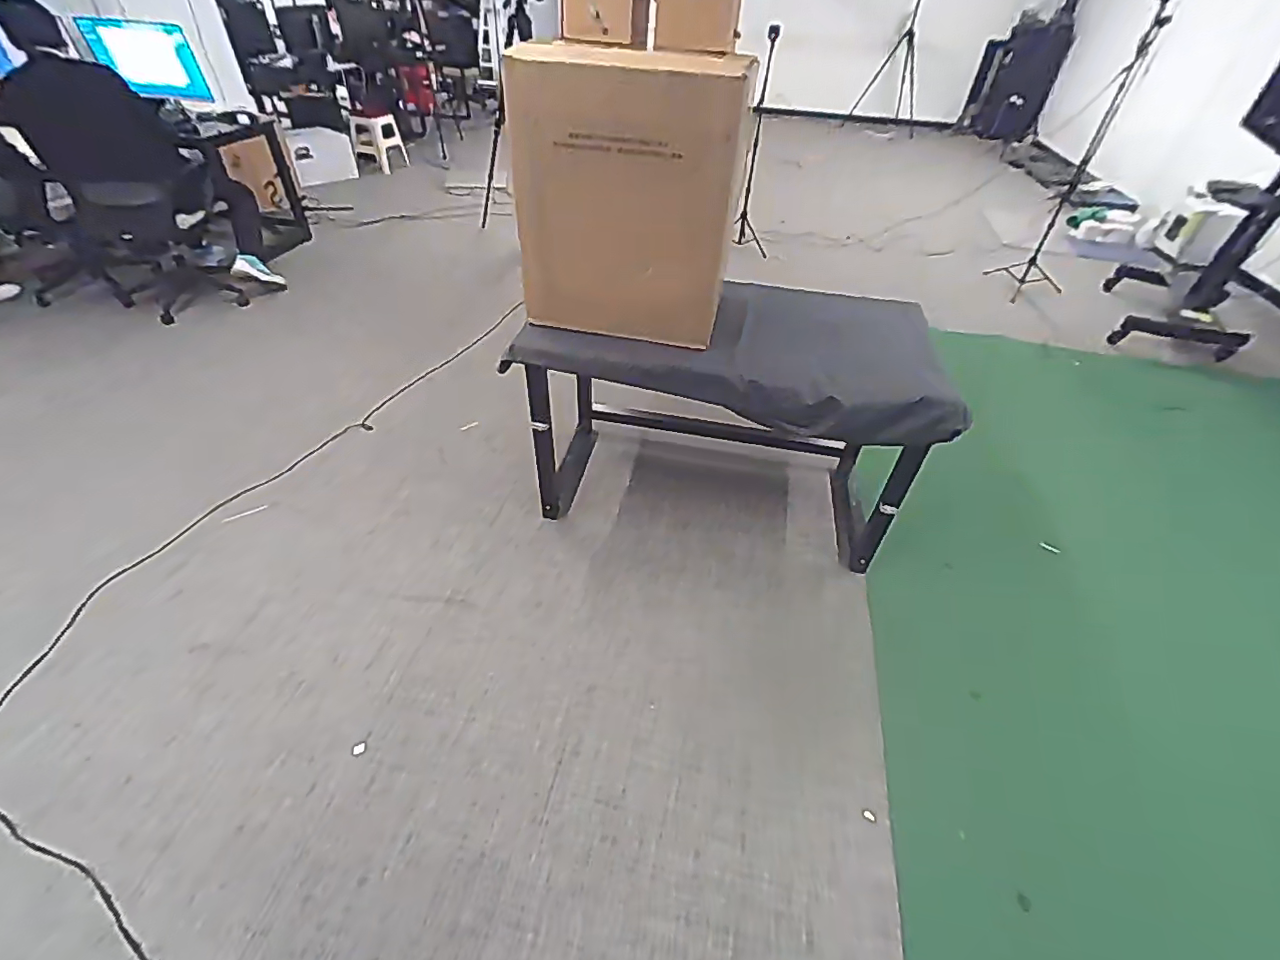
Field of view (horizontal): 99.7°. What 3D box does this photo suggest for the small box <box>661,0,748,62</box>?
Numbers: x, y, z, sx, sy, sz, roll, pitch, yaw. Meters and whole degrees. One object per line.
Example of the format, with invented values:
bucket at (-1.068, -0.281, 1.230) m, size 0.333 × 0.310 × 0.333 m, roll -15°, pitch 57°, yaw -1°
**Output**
small box at (0.151, -1.086, 1.254) m, size 0.179 × 0.176 × 0.168 m, roll 12°, pitch 40°, yaw 7°
